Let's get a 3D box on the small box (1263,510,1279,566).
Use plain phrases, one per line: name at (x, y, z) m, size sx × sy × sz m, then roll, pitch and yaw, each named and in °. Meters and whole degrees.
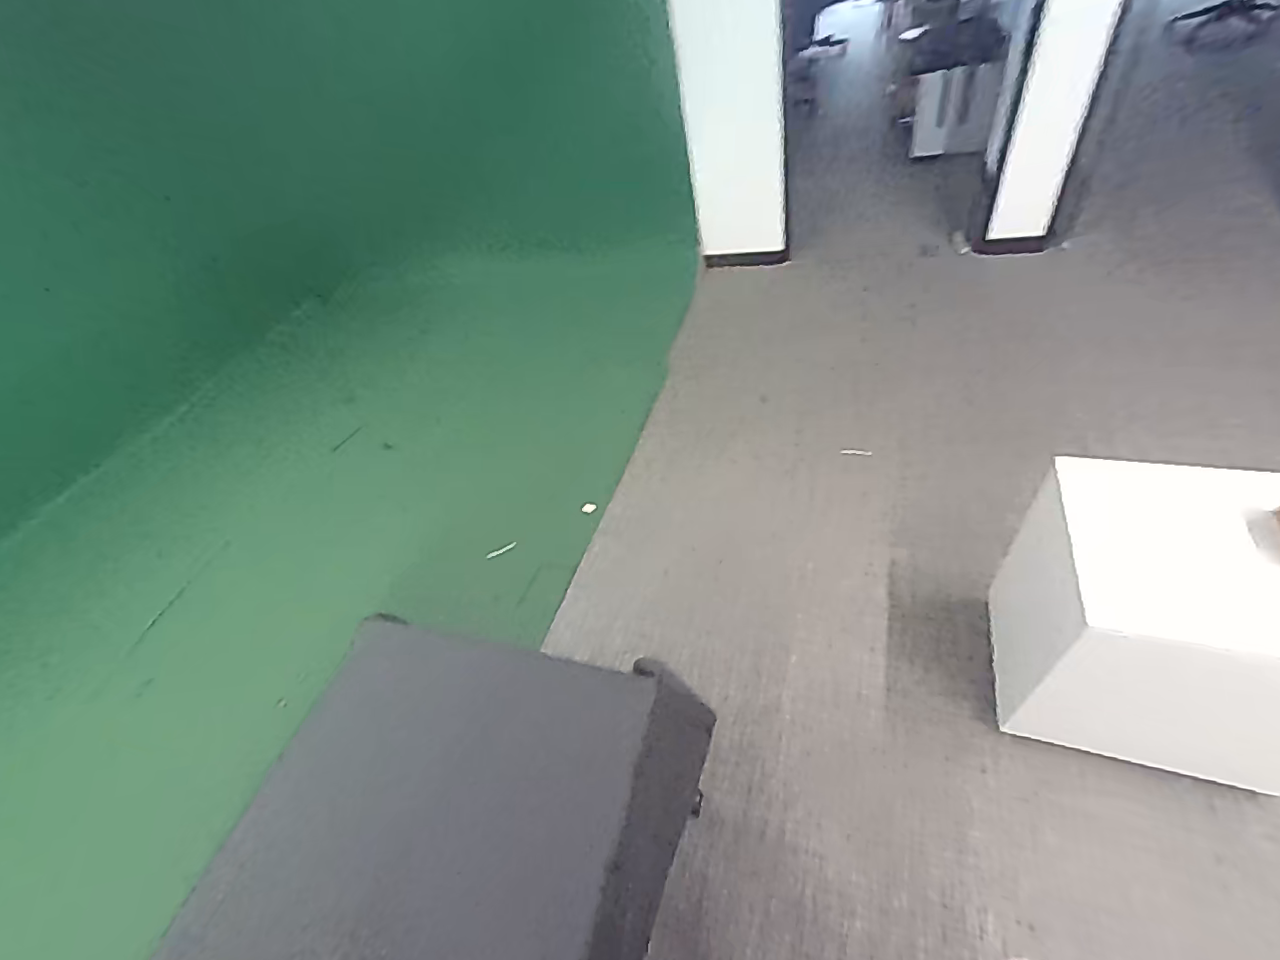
small box at (1.166, 0.089, 0.846) m, size 0.179 × 0.176 × 0.168 m, roll 8°, pitch 50°, yaw 21°
